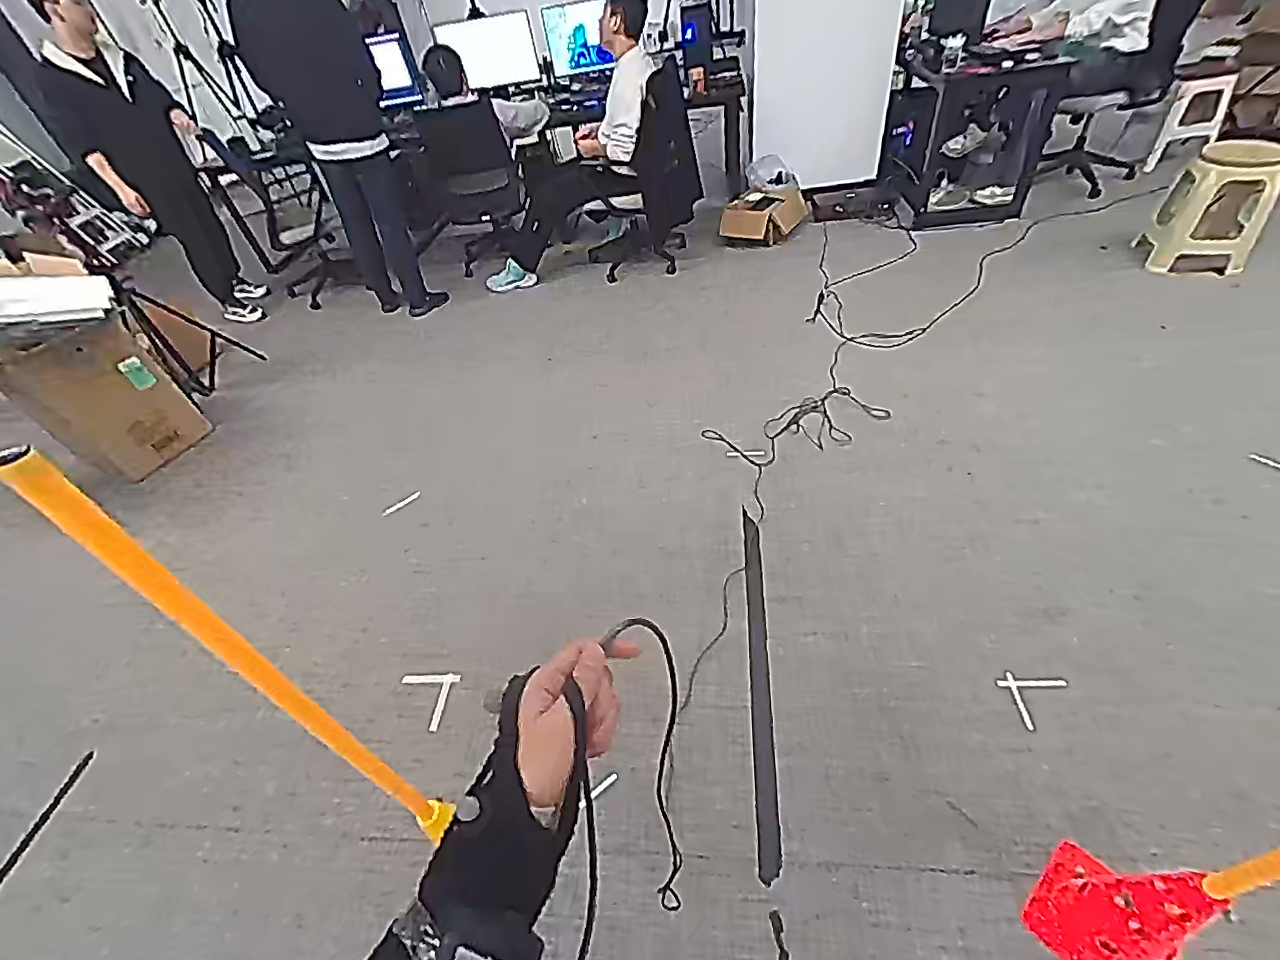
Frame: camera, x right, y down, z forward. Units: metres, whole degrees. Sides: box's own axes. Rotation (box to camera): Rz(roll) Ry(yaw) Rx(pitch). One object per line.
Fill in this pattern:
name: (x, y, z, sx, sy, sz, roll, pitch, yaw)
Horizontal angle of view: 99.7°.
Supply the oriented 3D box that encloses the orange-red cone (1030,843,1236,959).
orange-red cone: (0.816, 0.680, 0.853, 0.199, 0.360, 0.198, -35, 47, -22)
